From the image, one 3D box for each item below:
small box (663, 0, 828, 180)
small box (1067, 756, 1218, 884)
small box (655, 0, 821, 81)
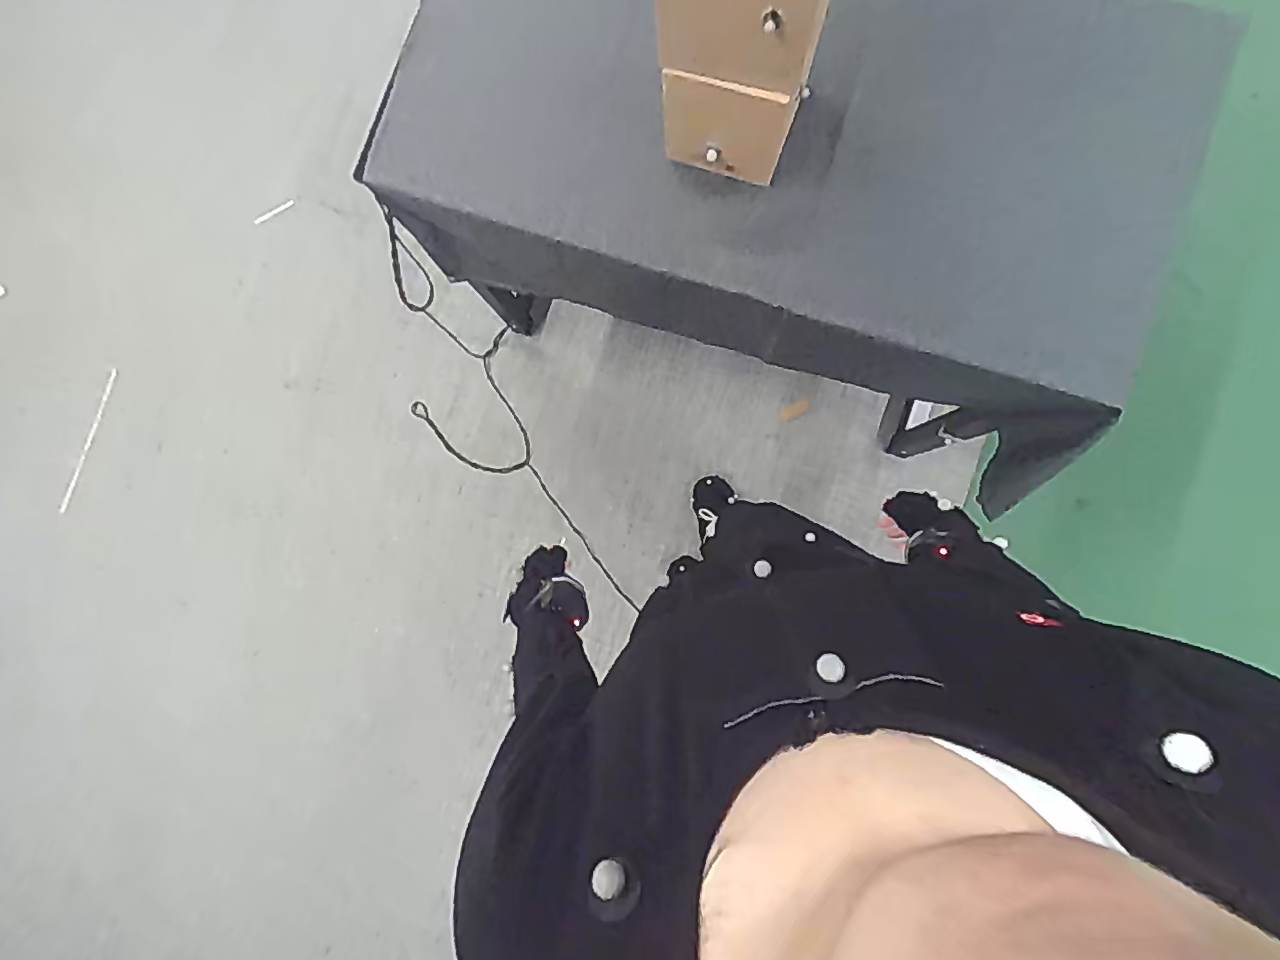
[{"bbox_3d":[0.137,-0.558,0.739,0.168,0.176,0.179,20,88,6],"label":"small box"},{"bbox_3d":[1.168,0.784,1.274,0.179,0.176,0.168,24,88,6],"label":"small box"},{"bbox_3d":[0.121,-0.576,0.578,0.179,0.176,0.168,18,86,6],"label":"small box"}]
